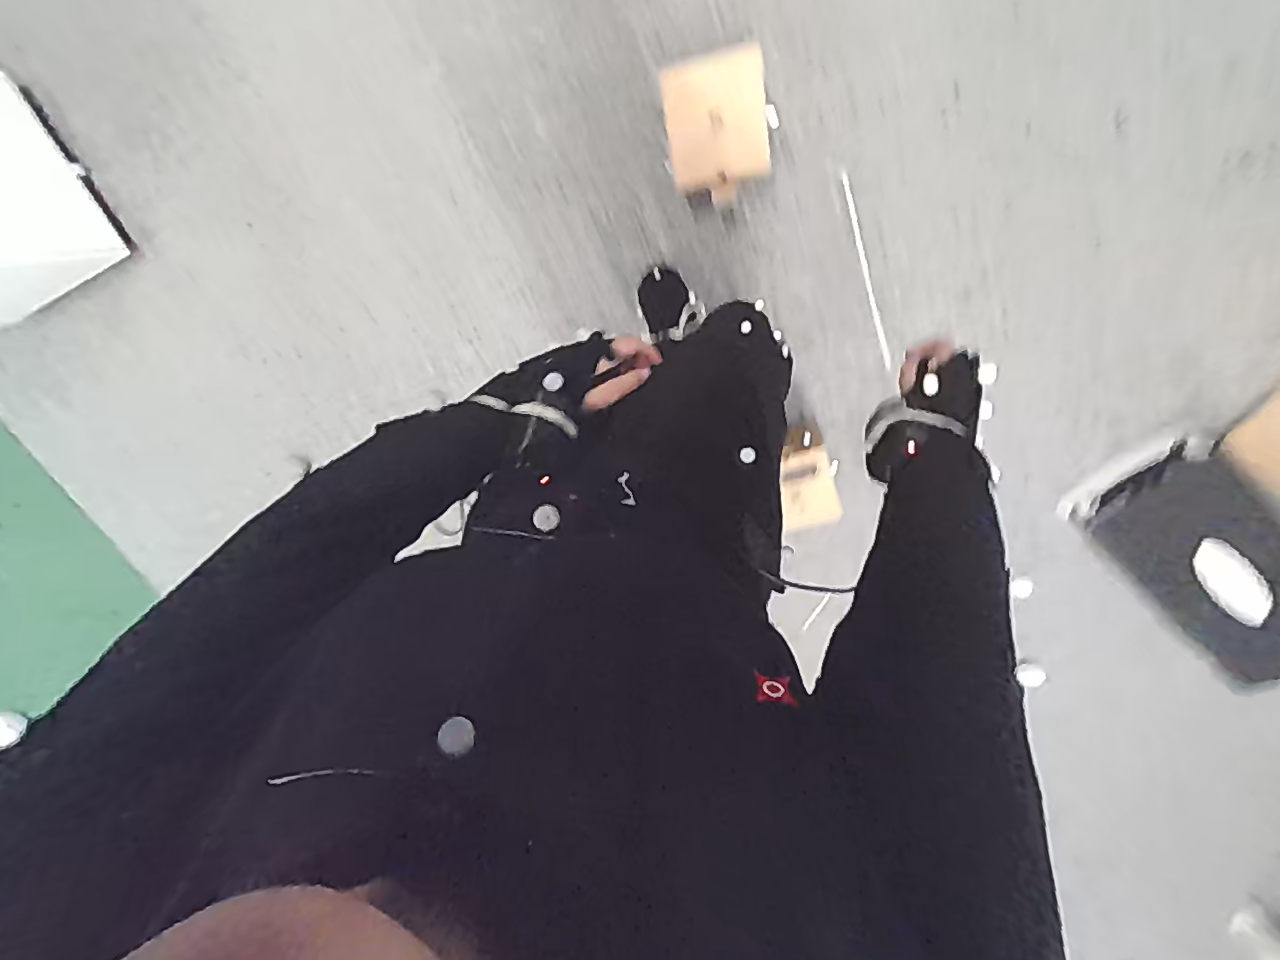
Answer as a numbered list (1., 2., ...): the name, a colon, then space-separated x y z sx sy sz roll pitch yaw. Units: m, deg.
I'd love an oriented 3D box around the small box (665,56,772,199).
1. small box: 0.143 -0.620 0.974 0.168 0.176 0.179 -6 116 13
